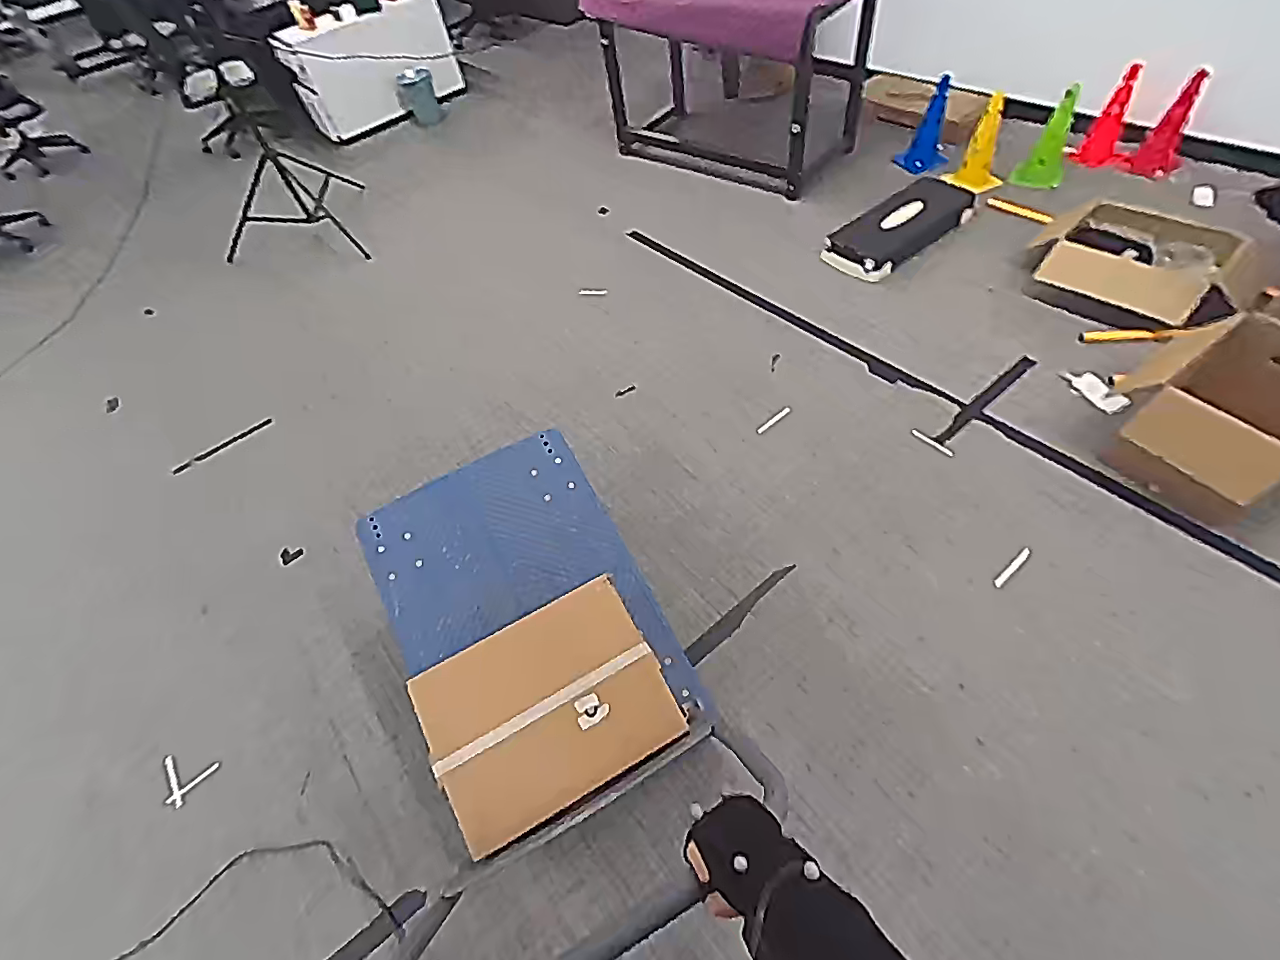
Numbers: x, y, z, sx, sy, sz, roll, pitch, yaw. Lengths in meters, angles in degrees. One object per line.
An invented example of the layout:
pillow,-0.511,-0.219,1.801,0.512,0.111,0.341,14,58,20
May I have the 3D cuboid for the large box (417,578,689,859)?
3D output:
large box,-0.161,0.459,1.098,0.408,0.320,0.320,-28,72,-12
